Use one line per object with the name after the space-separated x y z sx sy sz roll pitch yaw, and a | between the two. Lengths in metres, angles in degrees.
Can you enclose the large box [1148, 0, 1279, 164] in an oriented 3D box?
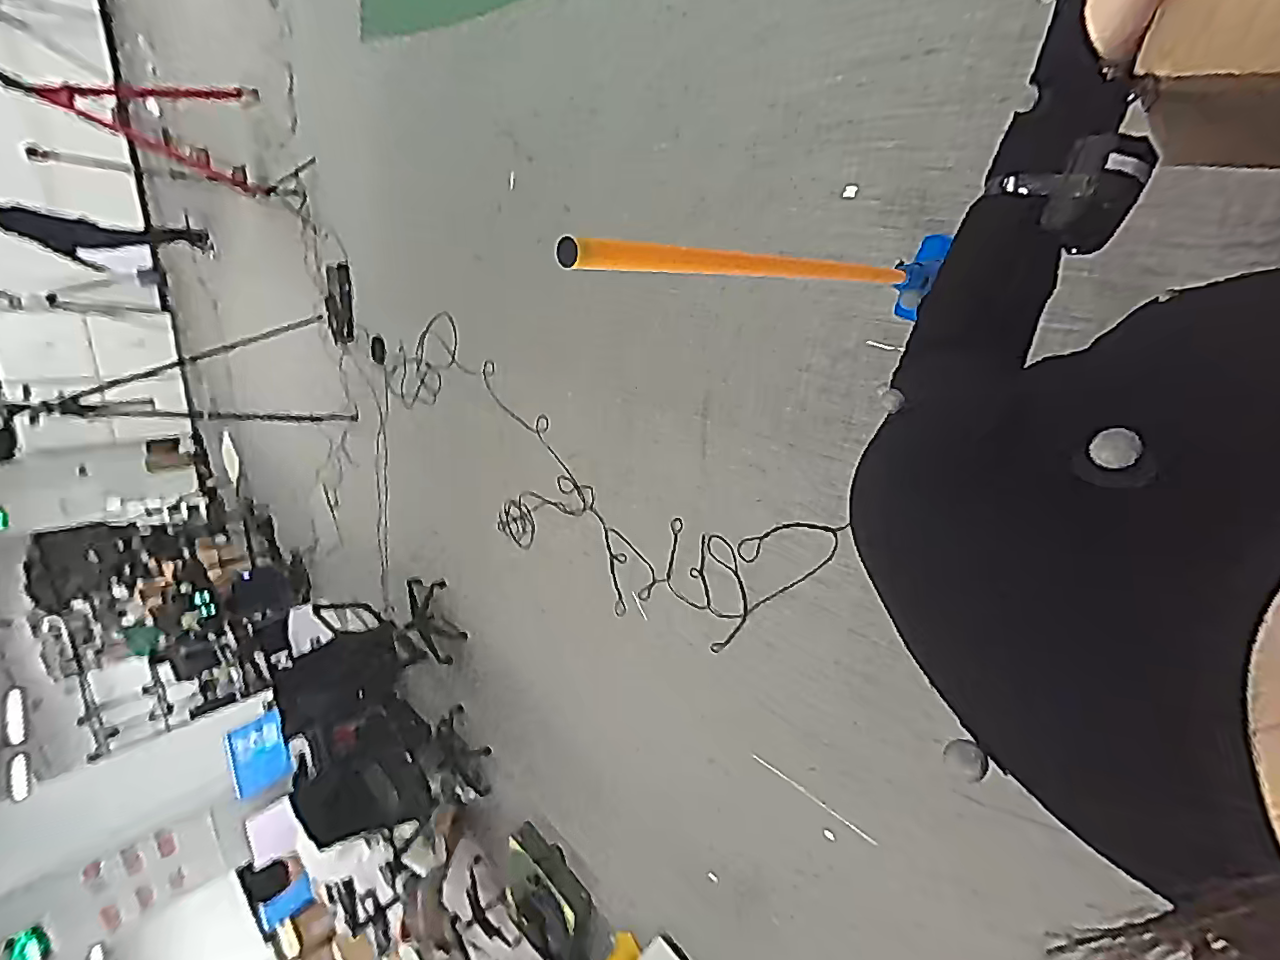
0.580 -0.364 0.269 0.408 0.320 0.320 27 121 37 | large box
